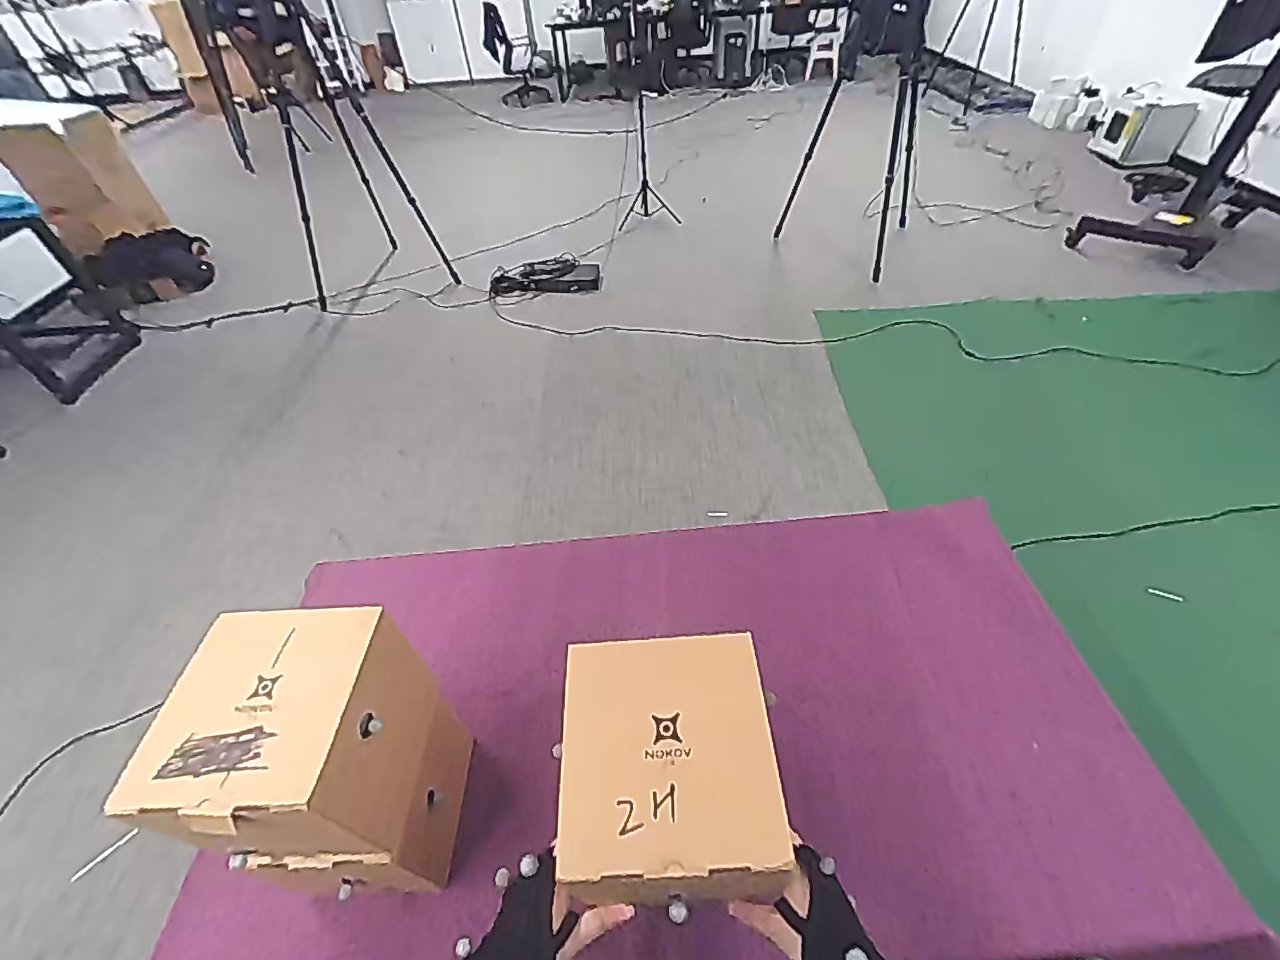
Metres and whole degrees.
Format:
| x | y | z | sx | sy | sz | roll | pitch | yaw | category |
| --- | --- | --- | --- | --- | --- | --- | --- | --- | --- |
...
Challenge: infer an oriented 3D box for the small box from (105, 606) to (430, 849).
| x | y | z | sx | sy | sz | roll | pitch | yaw | category |
| --- | --- | --- | --- | --- | --- | --- | --- | --- | --- |
| -0.326 | 0.243 | 0.526 | 0.168 | 0.176 | 0.179 | -1 | 45 | 2 | small box |

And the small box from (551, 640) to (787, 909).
| x | y | z | sx | sy | sz | roll | pitch | yaw | category |
| --- | --- | --- | --- | --- | --- | --- | --- | --- | --- |
| 0.023 | 0.263 | 0.483 | 0.168 | 0.176 | 0.179 | -3 | 47 | 2 | small box |

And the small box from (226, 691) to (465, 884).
| x | y | z | sx | sy | sz | roll | pitch | yaw | category |
| --- | --- | --- | --- | --- | --- | --- | --- | --- | --- |
| -0.321 | 0.364 | 0.639 | 0.168 | 0.176 | 0.179 | -2 | 47 | 1 | small box |
